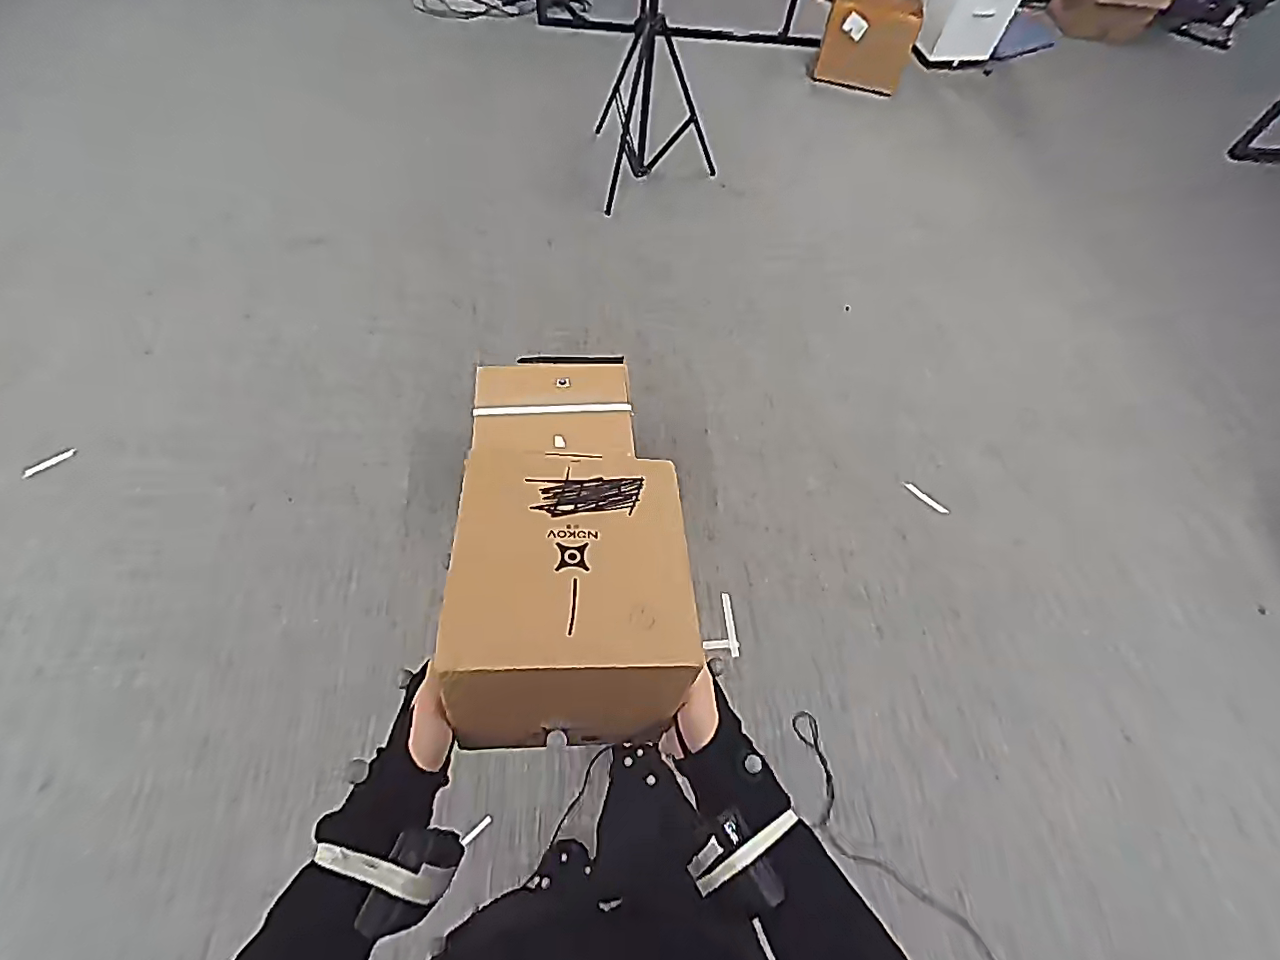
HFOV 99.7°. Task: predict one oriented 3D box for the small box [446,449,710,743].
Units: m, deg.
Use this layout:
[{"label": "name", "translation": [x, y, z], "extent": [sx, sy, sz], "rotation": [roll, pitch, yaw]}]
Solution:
[{"label": "small box", "translation": [-0.054, 0.097, 0.443], "extent": [0.168, 0.176, 0.179], "rotation": [2, 50, -10]}]
